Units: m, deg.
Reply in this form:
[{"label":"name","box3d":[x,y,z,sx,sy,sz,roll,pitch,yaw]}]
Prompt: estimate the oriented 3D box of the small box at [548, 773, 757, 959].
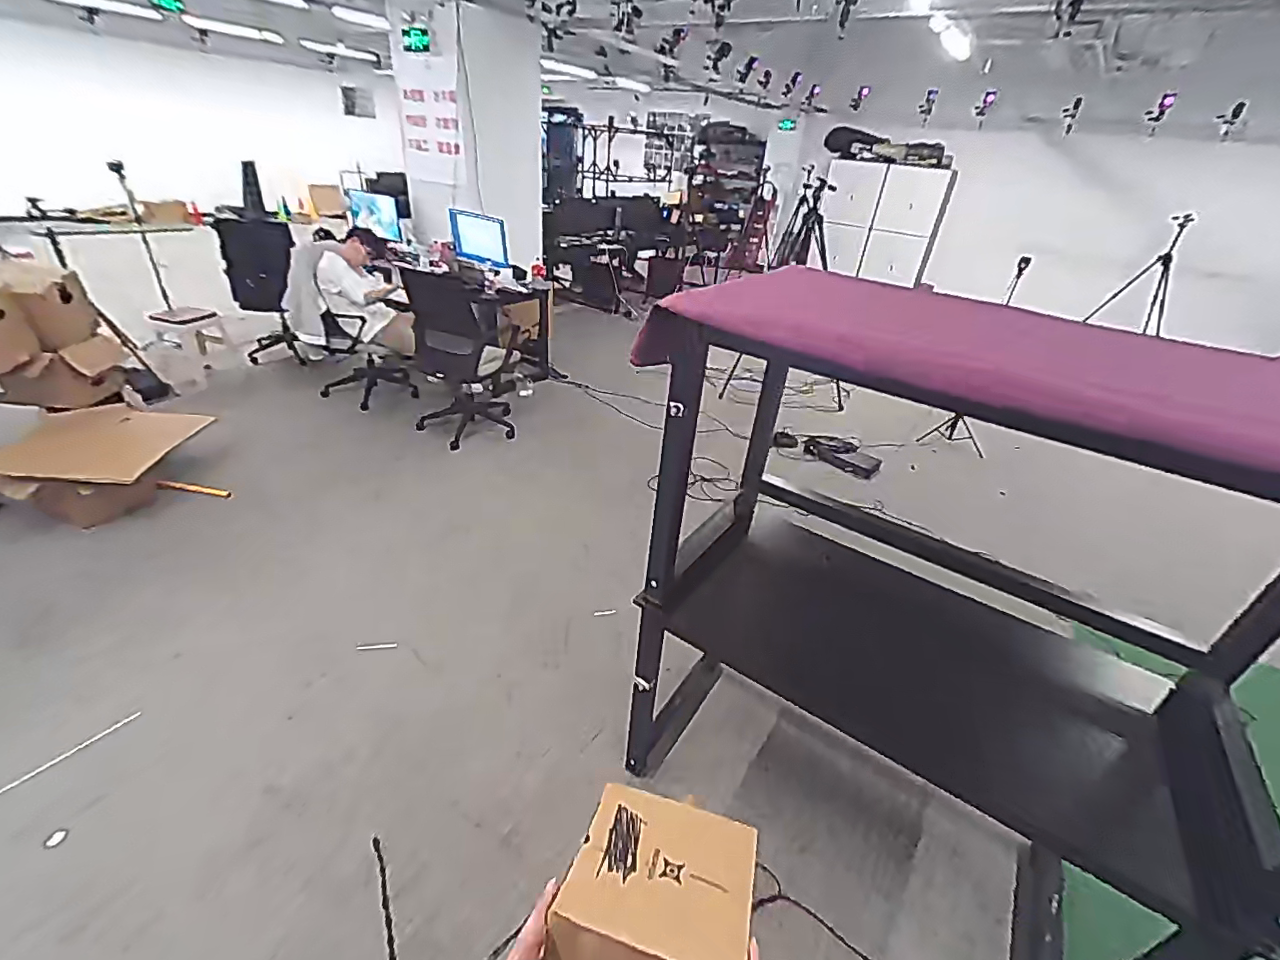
[{"label":"small box","box3d":[0.014,0.448,0.551,0.179,0.176,0.168,11,14,14]}]
